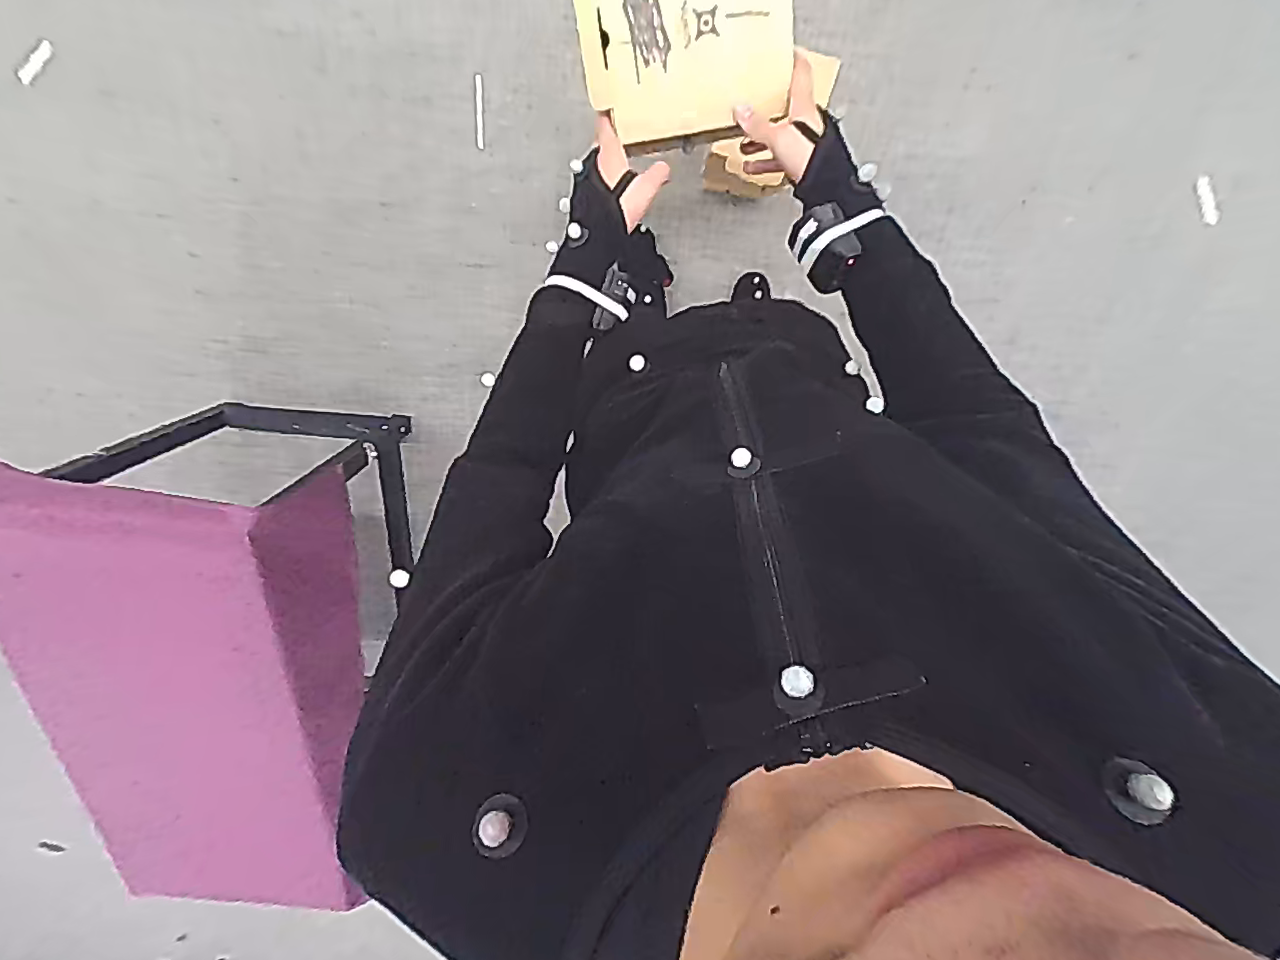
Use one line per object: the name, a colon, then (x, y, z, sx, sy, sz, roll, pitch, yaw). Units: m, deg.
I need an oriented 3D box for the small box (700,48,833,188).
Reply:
small box: (0.211, -0.643, 0.963, 0.168, 0.176, 0.179, 15, 114, -5)

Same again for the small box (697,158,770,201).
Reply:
small box: (0.231, -0.765, 1.269, 0.168, 0.176, 0.179, 9, 114, -2)

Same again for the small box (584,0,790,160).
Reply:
small box: (0.039, -0.439, 0.552, 0.179, 0.176, 0.168, -11, 117, -1)
